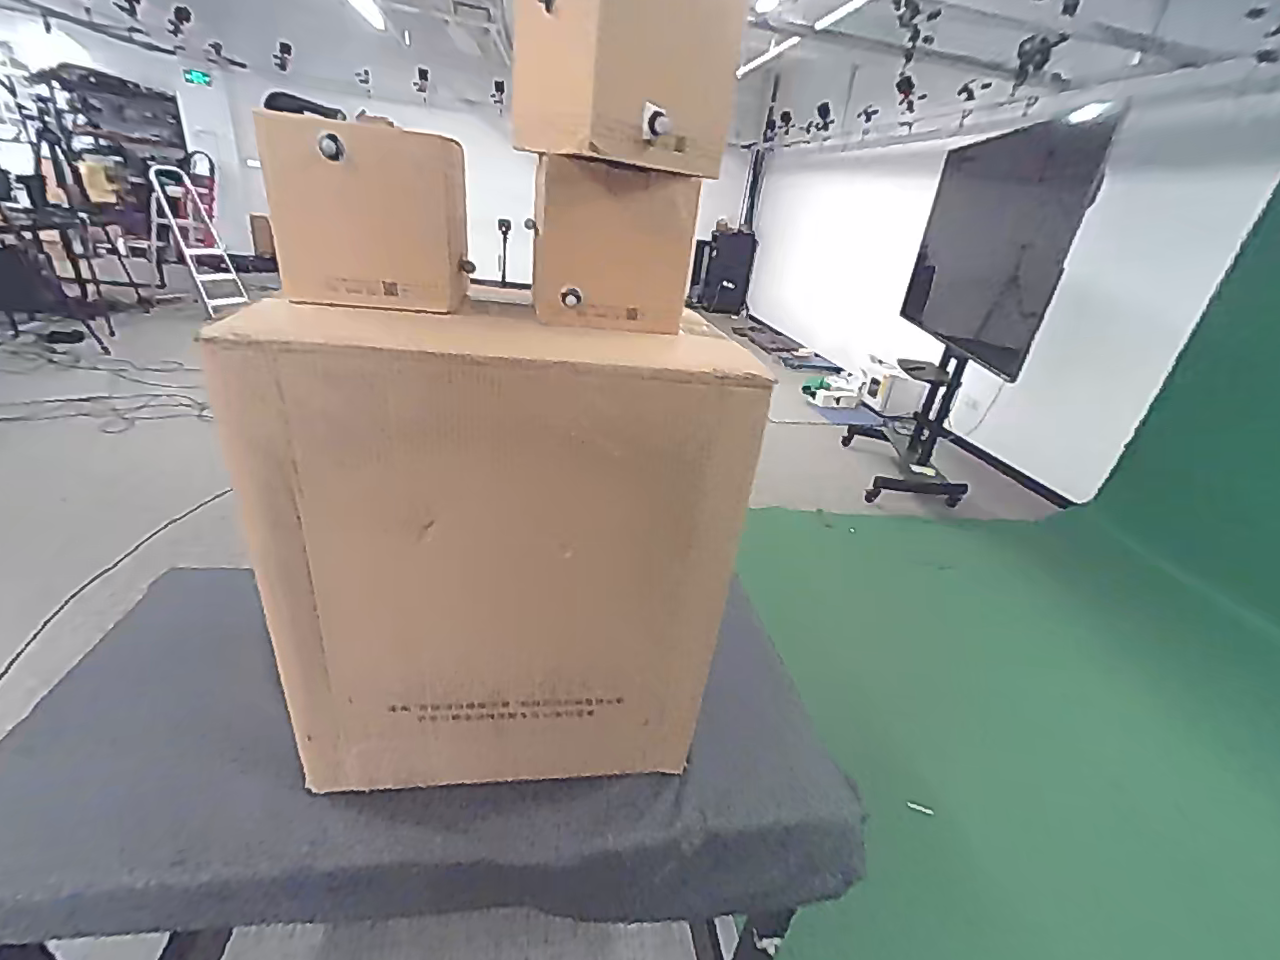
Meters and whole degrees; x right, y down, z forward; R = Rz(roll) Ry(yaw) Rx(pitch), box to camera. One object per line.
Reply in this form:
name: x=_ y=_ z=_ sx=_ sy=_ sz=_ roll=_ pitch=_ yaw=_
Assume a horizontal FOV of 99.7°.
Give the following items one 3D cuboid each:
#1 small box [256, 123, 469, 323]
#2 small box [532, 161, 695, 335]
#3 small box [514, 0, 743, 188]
small box: x=-0.289 y=-0.283 z=0.610 sx=0.168 sy=0.176 sz=0.179 roll=0 pitch=28 yaw=-11
small box: x=-0.044 y=-0.281 z=0.657 sx=0.168 sy=0.176 sz=0.179 roll=-1 pitch=28 yaw=-14
small box: x=-0.024 y=-0.410 z=0.558 sx=0.168 sy=0.176 sz=0.179 roll=-15 pitch=36 yaw=-33
